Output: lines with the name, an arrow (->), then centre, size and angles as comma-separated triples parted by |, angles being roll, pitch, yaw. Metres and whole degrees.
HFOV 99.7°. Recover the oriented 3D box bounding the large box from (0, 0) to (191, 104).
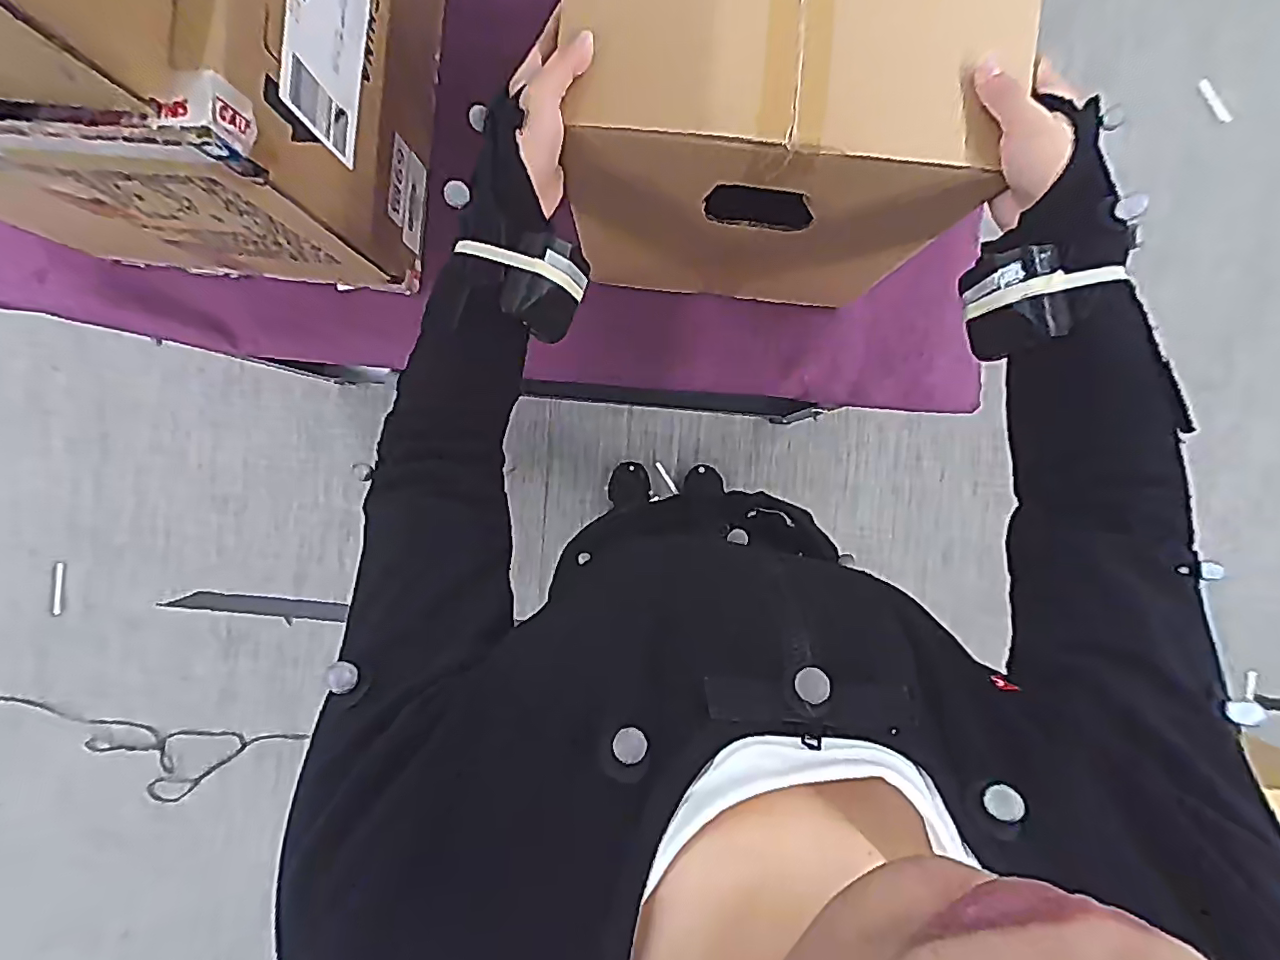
large box -> -0.429, -0.444, 0.194 | 0.320, 0.320, 0.408 | 4, 92, 2
